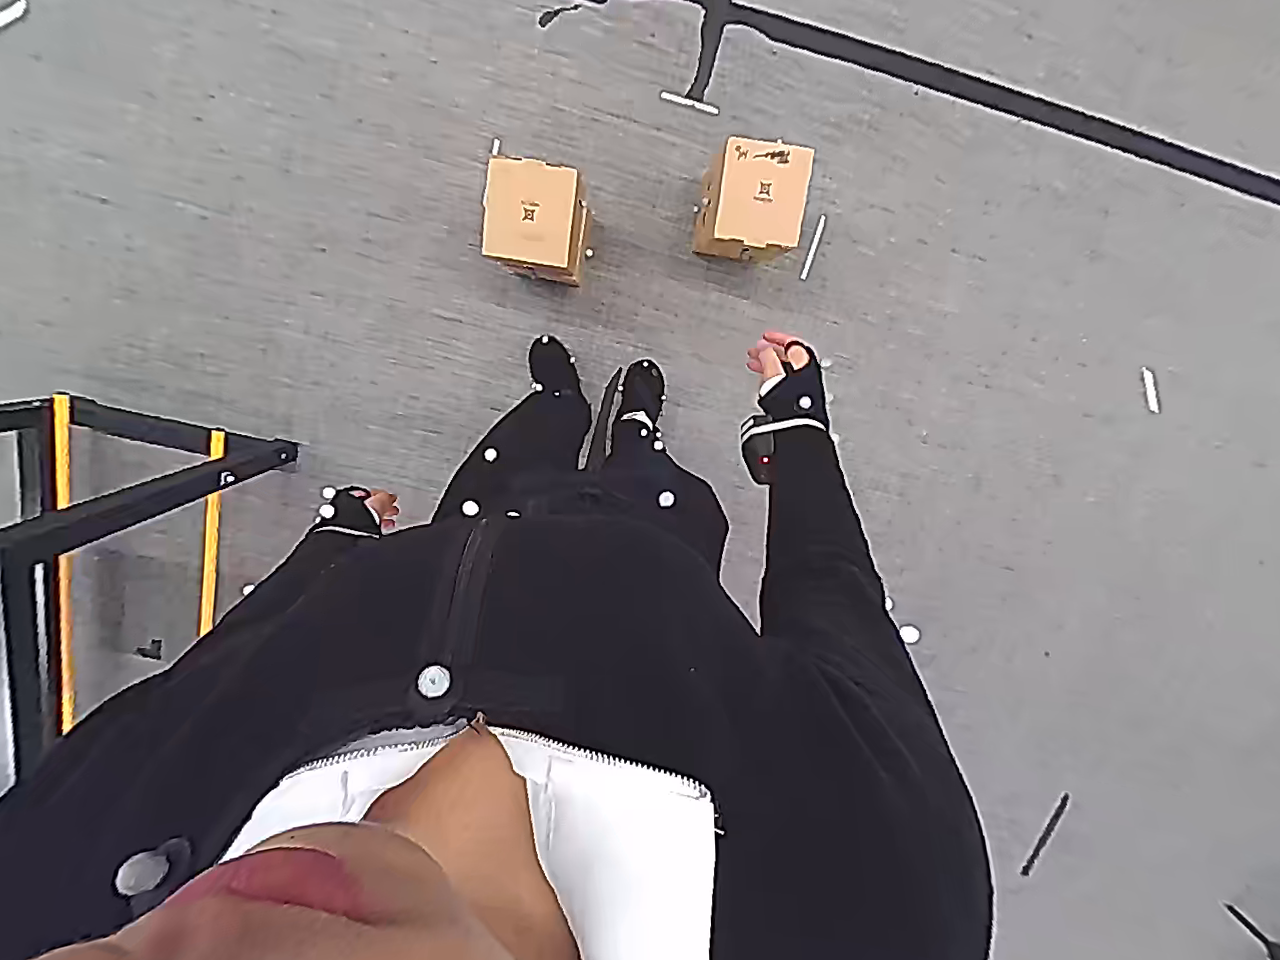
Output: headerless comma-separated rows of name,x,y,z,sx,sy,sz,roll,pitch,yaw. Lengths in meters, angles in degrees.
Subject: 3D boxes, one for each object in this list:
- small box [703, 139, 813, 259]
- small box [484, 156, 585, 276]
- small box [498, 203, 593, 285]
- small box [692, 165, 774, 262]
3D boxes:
small box,0.227,-0.555,1.093,0.168,0.176,0.179,7,106,-4
small box,-0.206,-0.521,1.090,0.168,0.176,0.179,8,107,-2
small box,-0.212,-0.554,1.250,0.179,0.176,0.168,11,105,-5
small box,0.227,-0.607,1.249,0.179,0.176,0.168,8,105,-4
